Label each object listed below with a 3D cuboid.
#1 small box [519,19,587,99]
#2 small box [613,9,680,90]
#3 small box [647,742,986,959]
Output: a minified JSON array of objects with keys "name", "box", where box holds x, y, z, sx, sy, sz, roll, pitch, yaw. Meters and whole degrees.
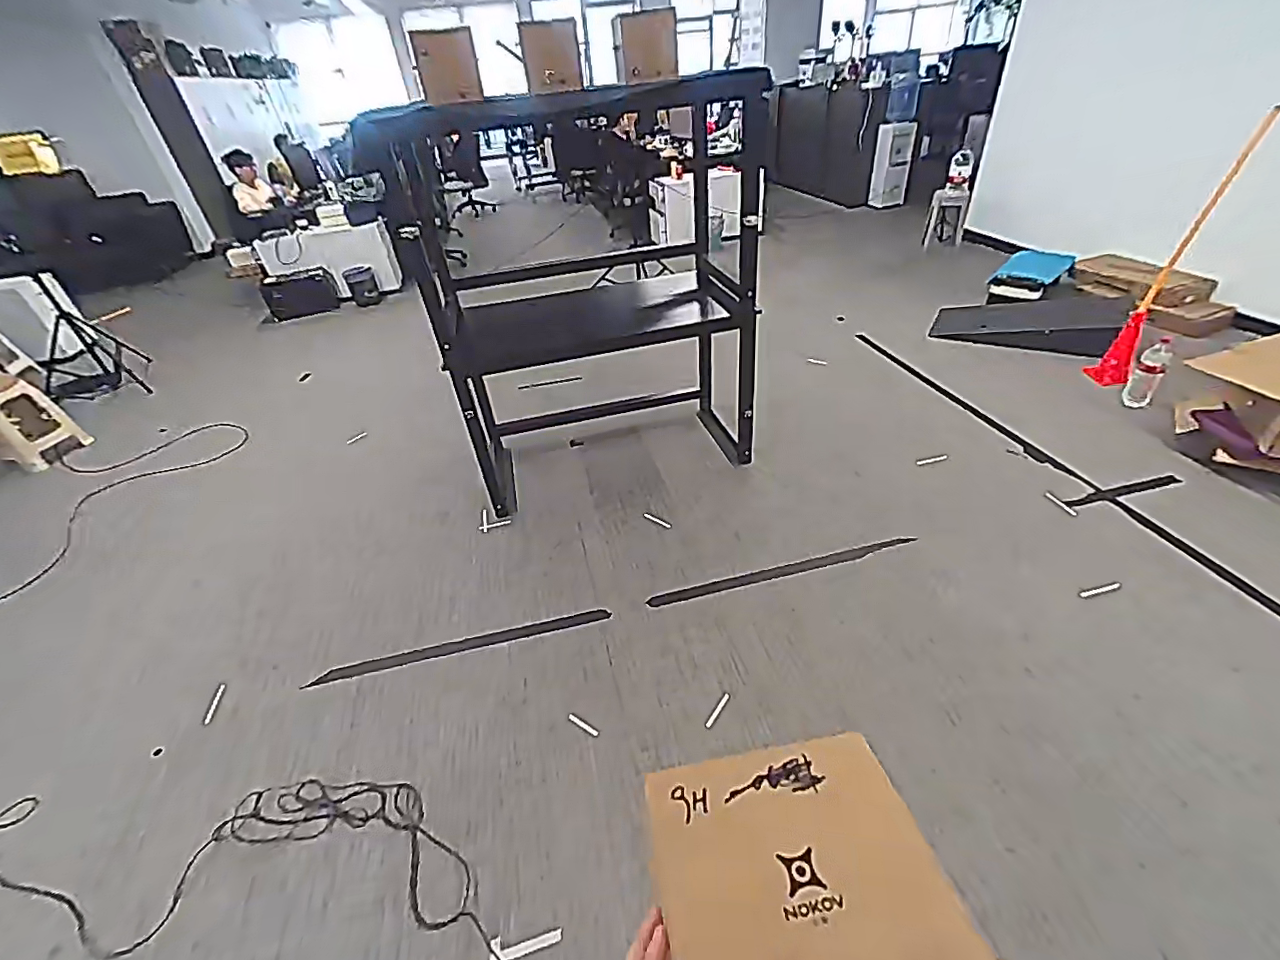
[{"name":"small box","box":[-0.252,-1.221,1.578,0.168,0.176,0.179,-11,36,-5]},{"name":"small box","box":[0.021,-1.285,1.621,0.168,0.176,0.179,-11,36,-6]},{"name":"small box","box":[0.102,0.313,0.355,0.168,0.176,0.179,-7,31,-7]}]
